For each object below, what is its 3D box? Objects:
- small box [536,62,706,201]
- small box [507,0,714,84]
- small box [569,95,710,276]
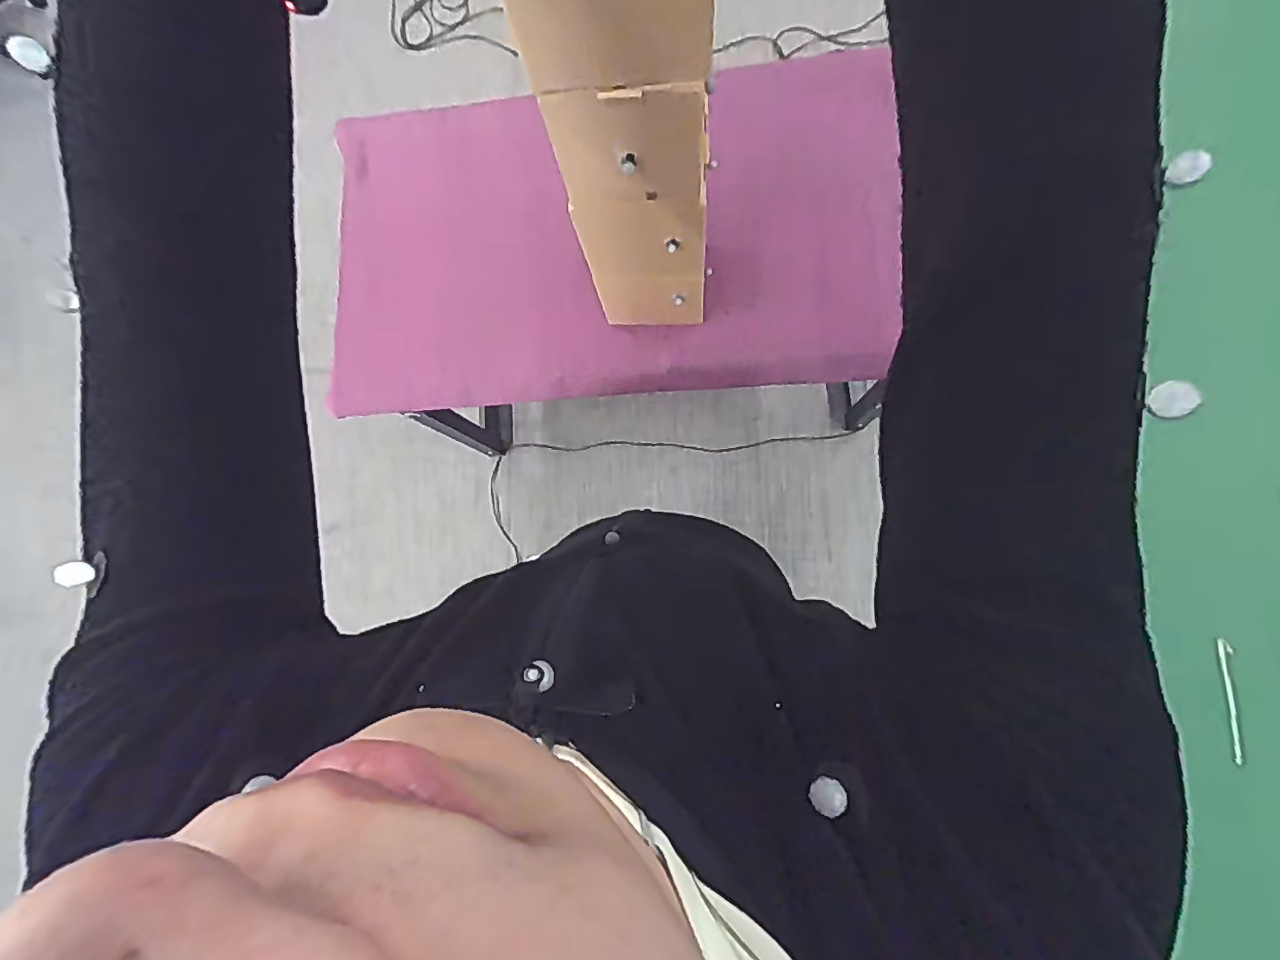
[{"bbox_3d":[-0.010,-0.440,0.610,0.168,0.176,0.179,1,81,6],"label":"small box"},{"bbox_3d":[-0.027,-0.470,0.449,0.179,0.176,0.168,-1,80,5],"label":"small box"},{"bbox_3d":[0.007,-0.407,0.768,0.179,0.176,0.168,1,81,7],"label":"small box"}]
